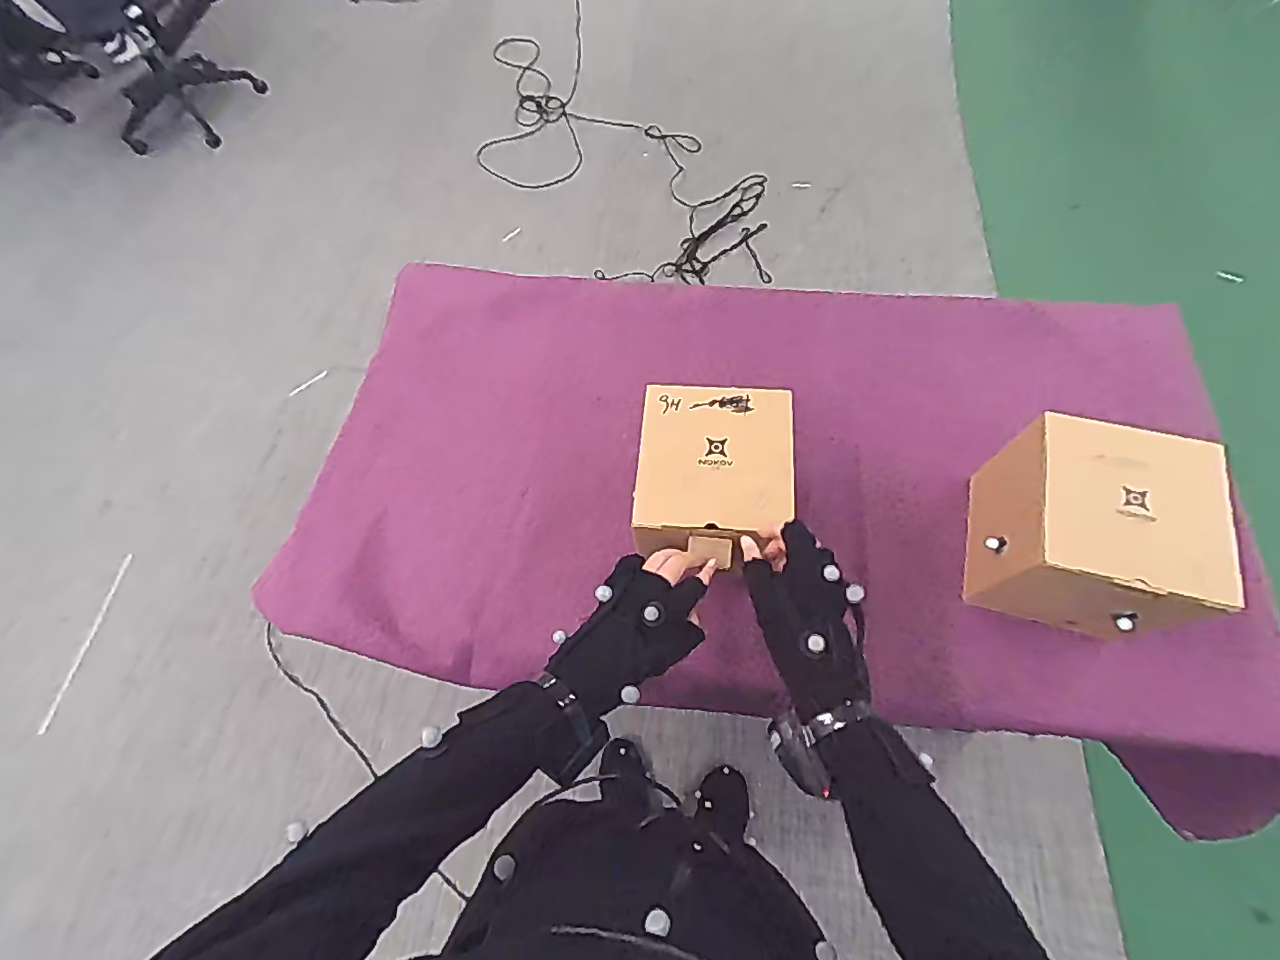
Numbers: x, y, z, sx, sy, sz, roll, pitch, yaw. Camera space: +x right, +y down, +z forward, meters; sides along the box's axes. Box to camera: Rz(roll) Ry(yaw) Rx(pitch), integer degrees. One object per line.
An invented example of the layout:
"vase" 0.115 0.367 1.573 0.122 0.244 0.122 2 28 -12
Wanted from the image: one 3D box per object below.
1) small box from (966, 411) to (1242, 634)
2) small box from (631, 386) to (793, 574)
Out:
"small box" 0.484 0.055 0.594 0.168 0.176 0.179 14 67 11
"small box" 0.087 0.008 0.652 0.168 0.176 0.179 4 66 6
